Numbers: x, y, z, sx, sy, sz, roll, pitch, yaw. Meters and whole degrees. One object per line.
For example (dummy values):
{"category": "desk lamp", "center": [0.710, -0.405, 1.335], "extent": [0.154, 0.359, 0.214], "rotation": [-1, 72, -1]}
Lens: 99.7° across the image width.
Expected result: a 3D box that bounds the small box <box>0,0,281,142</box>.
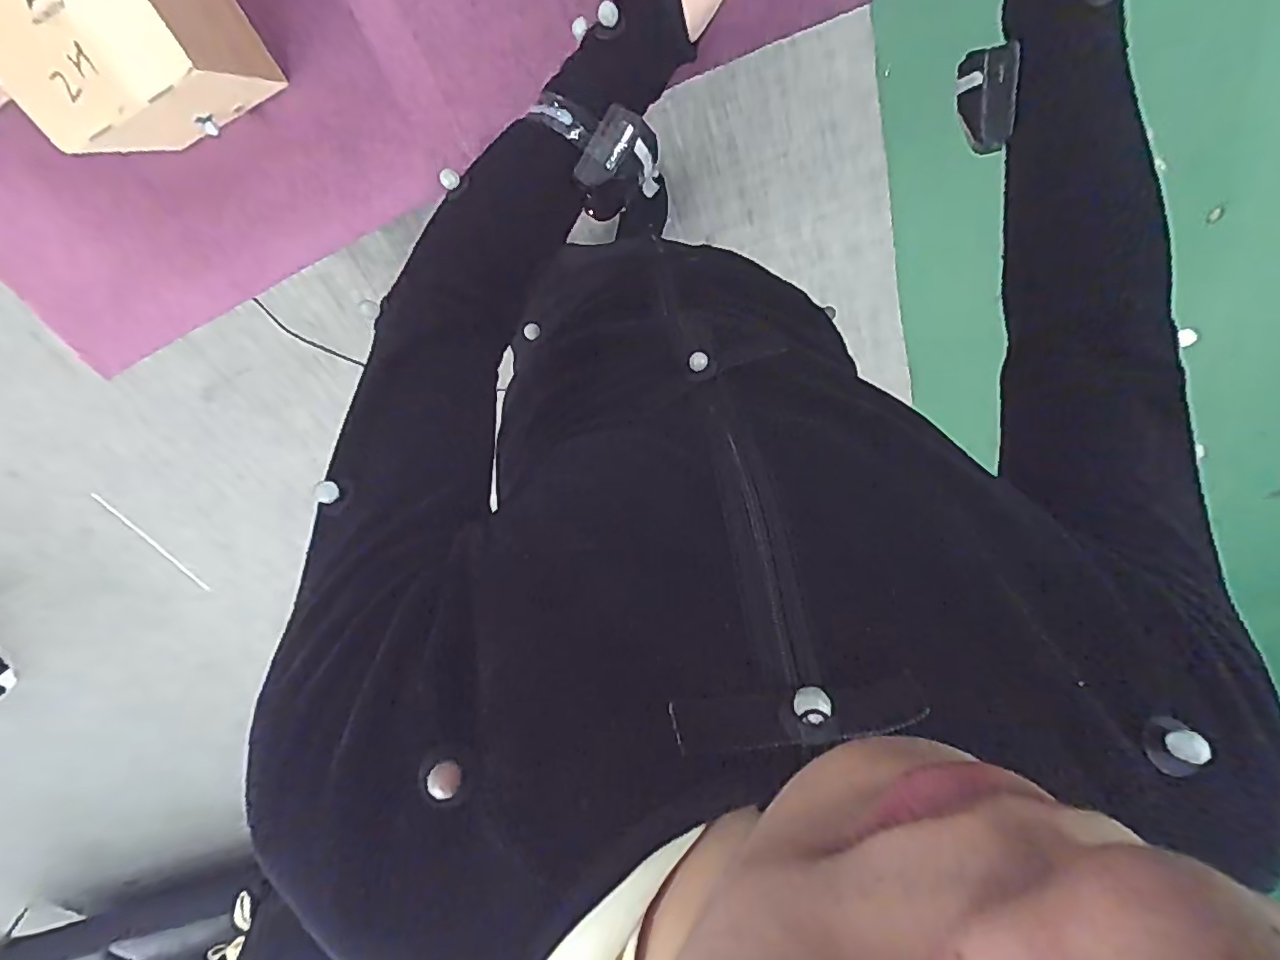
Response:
{"category": "small box", "center": [-0.501, -0.449, 0.513], "extent": [0.168, 0.176, 0.179], "rotation": [-21, 122, 10]}
